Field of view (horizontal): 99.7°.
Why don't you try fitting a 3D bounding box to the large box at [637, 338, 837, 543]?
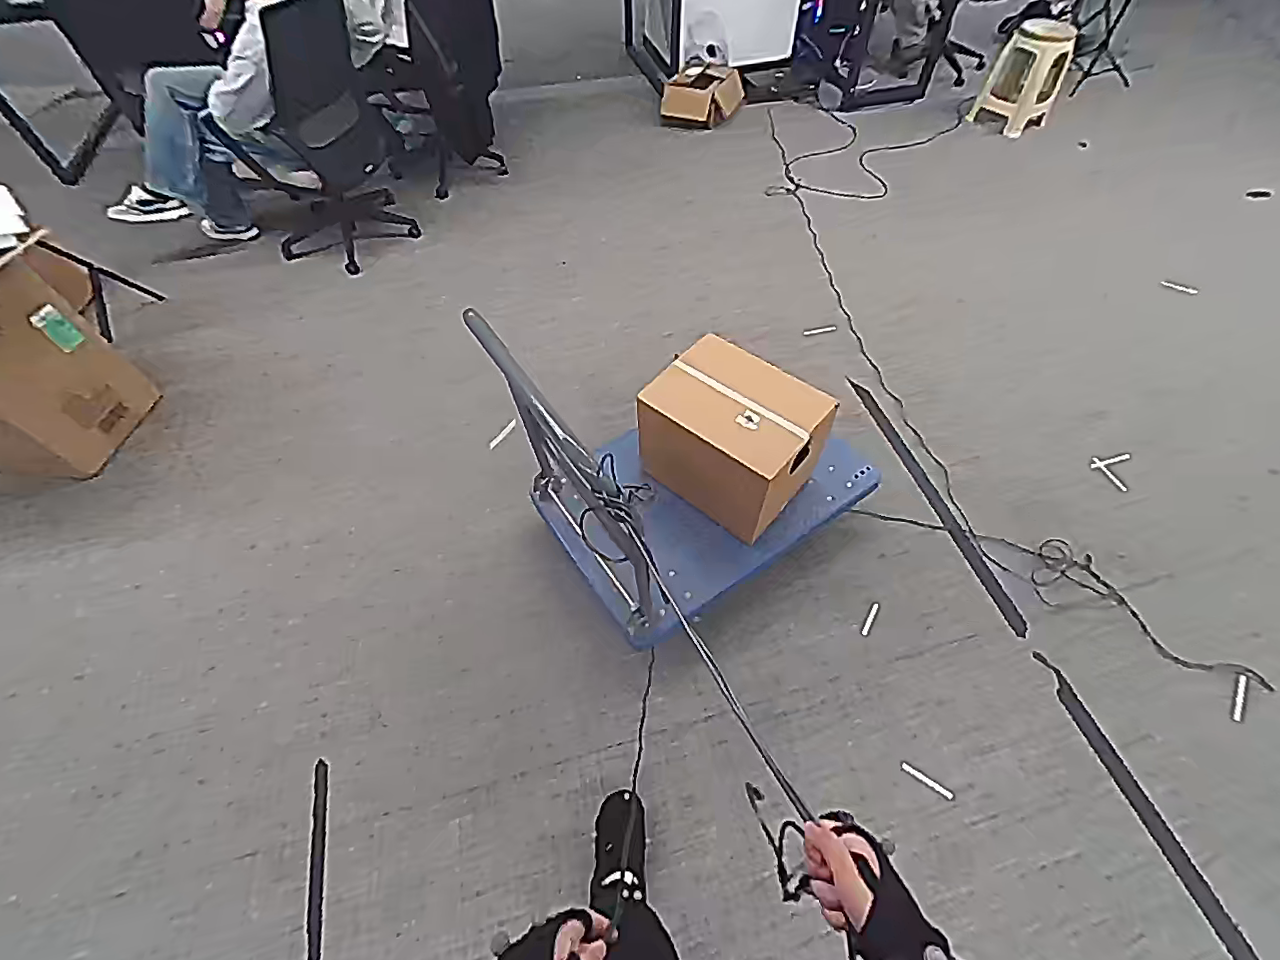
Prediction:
[{"bbox_3d":[0.238,-0.108,1.459,0.408,0.320,0.320,35,64,22],"label":"large box"}]
